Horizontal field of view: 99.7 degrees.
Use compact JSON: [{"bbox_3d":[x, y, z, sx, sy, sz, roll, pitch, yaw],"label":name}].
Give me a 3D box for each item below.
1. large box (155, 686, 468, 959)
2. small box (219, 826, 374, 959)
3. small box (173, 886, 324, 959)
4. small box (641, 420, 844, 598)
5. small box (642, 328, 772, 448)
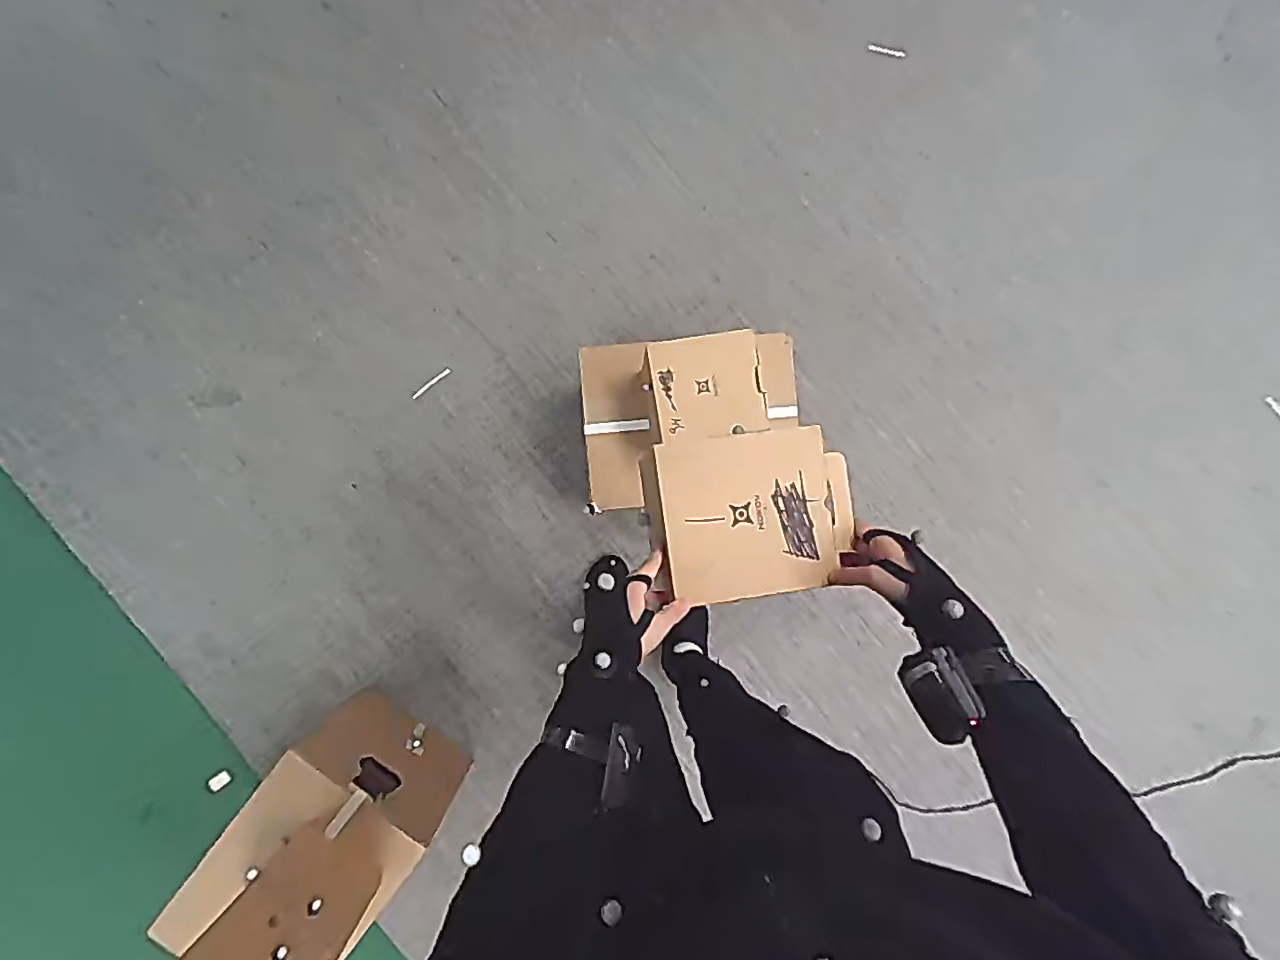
[{"bbox_3d":[-0.626,0.719,1.111,0.320,0.320,0.408,37,88,-1],"label":"large box"},{"bbox_3d":[-0.572,0.712,0.868,0.179,0.176,0.168,43,86,-2],"label":"small box"},{"bbox_3d":[-0.565,0.701,0.706,0.168,0.176,0.179,44,86,-2],"label":"small box"},{"bbox_3d":[0.103,0.031,0.616,0.179,0.176,0.168,-6,87,-6],"label":"small box"},{"bbox_3d":[0.105,-0.146,0.925,0.179,0.176,0.168,-9,87,-4],"label":"small box"}]
